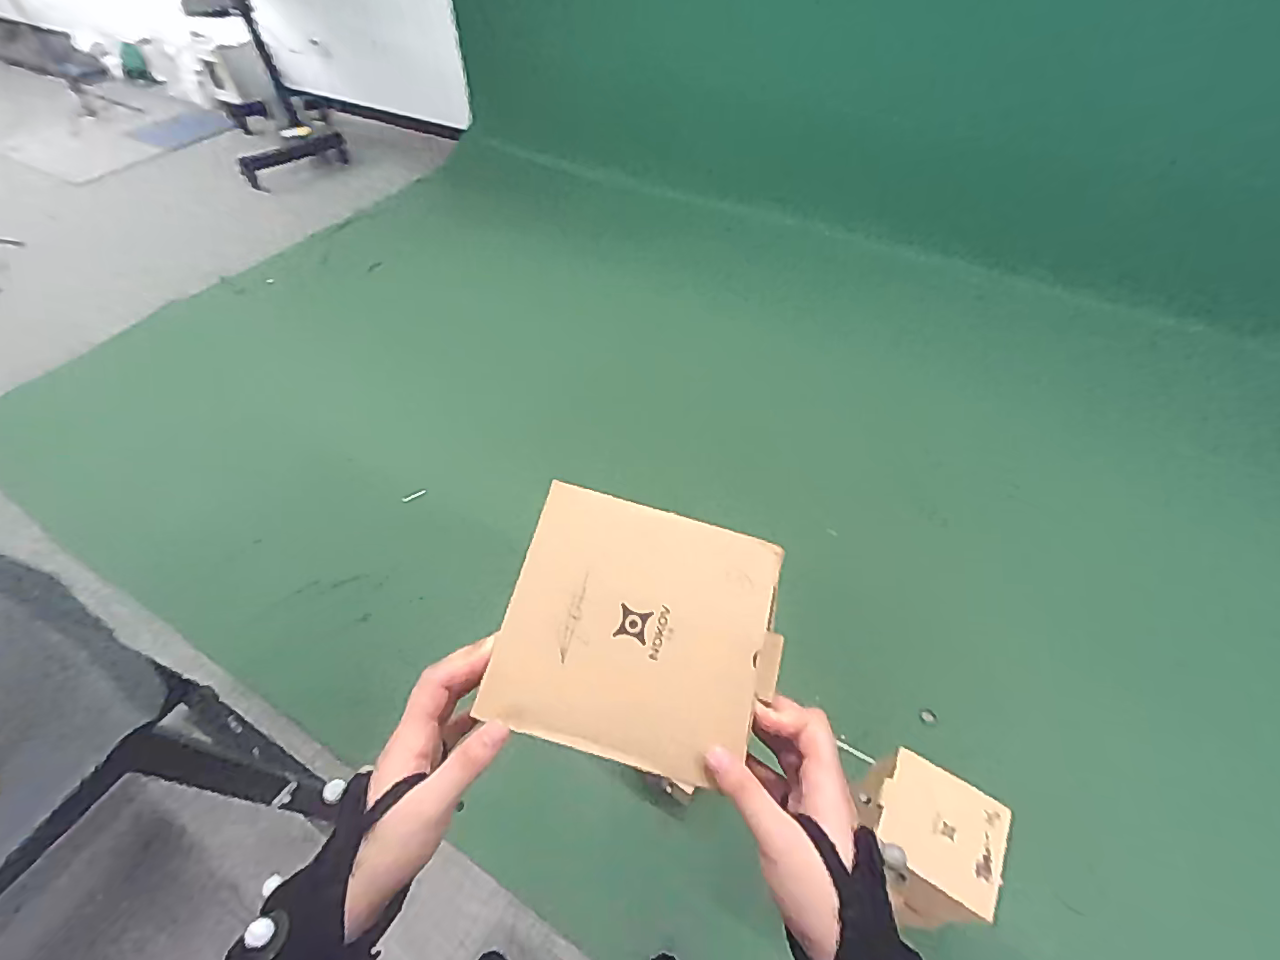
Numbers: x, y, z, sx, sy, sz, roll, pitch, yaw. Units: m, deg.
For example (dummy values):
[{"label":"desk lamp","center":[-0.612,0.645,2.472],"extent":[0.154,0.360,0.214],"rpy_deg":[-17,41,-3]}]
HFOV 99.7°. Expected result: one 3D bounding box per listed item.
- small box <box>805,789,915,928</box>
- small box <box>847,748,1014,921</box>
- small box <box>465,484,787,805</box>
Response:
[{"label":"small box","center":[0.474,0.791,1.138],"extent":[0.179,0.176,0.168],"rpy_deg":[28,57,21]},{"label":"small box","center":[0.464,0.582,0.885],"extent":[0.179,0.176,0.168],"rpy_deg":[26,56,20]},{"label":"small box","center":[-0.006,0.126,0.422],"extent":[0.179,0.176,0.168],"rpy_deg":[15,67,3]}]
